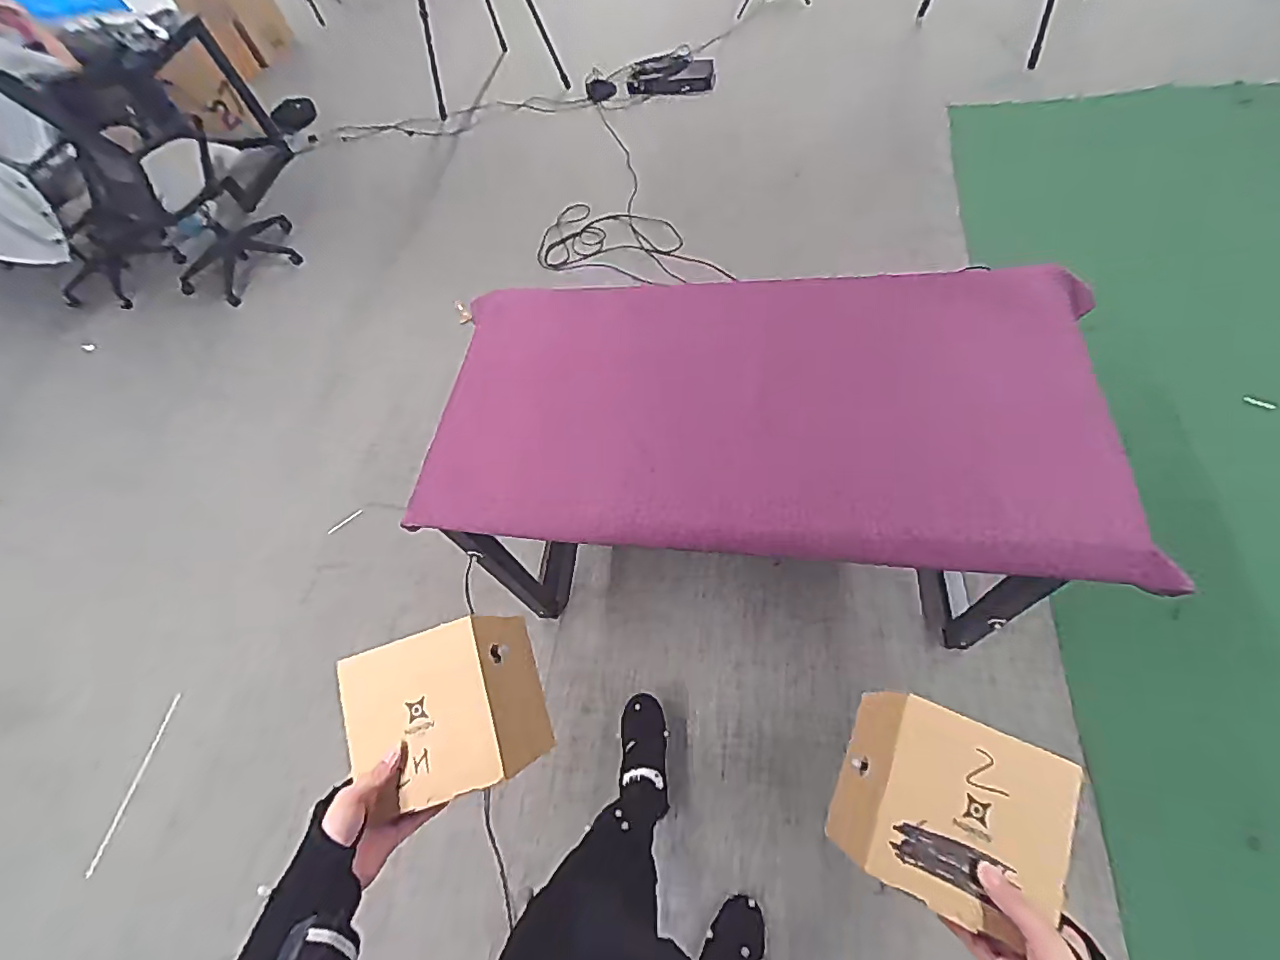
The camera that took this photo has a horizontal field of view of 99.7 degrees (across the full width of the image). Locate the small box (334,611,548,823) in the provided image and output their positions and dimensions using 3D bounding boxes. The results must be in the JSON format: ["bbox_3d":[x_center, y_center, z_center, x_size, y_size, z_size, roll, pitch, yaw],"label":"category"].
[{"bbox_3d":[-0.227,0.268,0.646,0.168,0.176,0.179,-19,73,4],"label":"small box"}]
